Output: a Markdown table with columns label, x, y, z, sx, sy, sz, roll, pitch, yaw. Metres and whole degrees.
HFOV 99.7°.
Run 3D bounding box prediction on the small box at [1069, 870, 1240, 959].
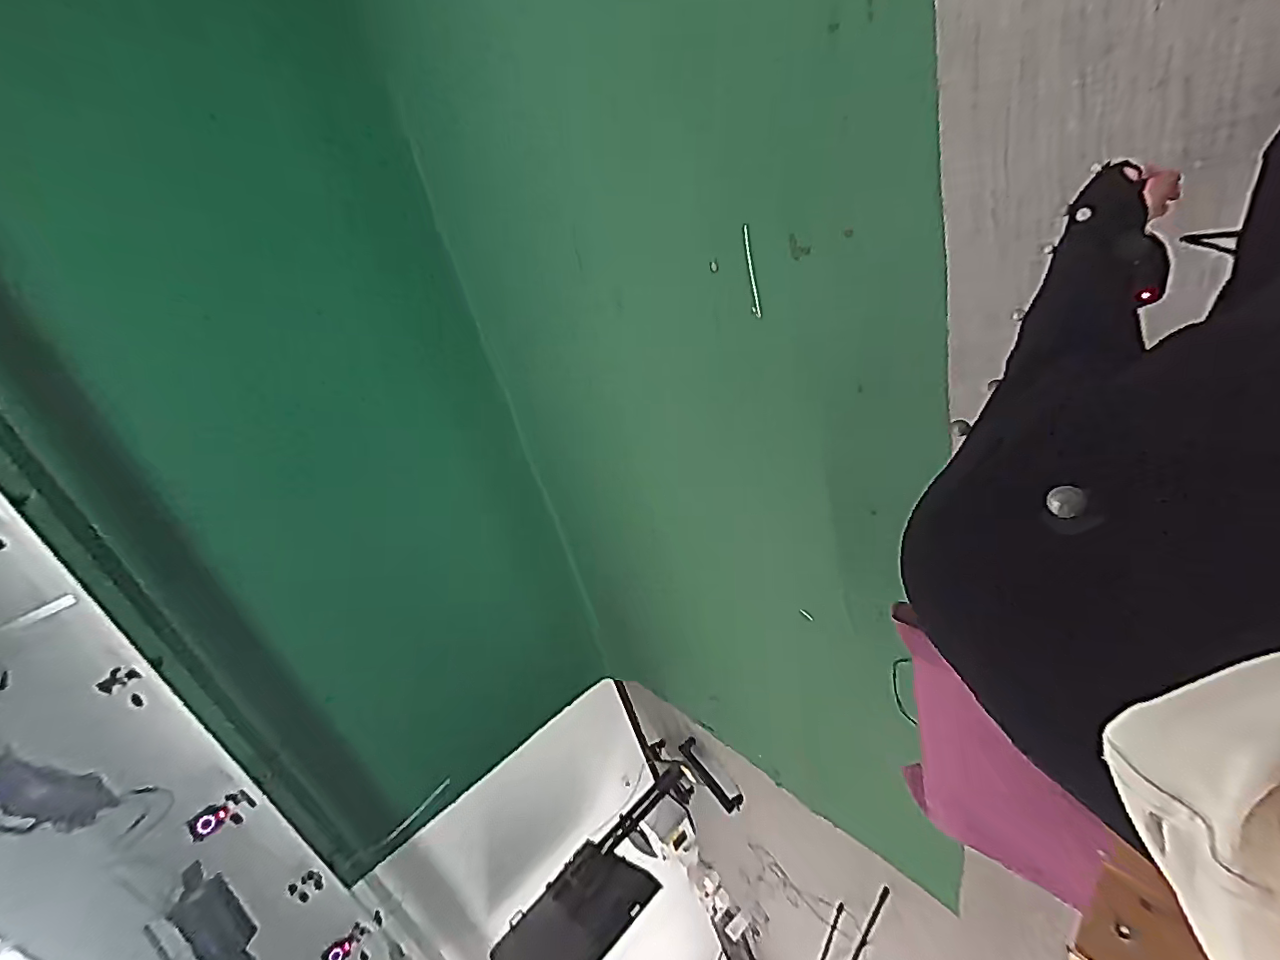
| label | x | y | z | sx | sy | sz | roll | pitch | yaw |
| --- | --- | --- | --- | --- | --- | --- | --- | --- | --- |
| small box | 0.783 | 0.764 | 0.836 | 0.168 | 0.176 | 0.179 | 17 | 130 | 49 |
